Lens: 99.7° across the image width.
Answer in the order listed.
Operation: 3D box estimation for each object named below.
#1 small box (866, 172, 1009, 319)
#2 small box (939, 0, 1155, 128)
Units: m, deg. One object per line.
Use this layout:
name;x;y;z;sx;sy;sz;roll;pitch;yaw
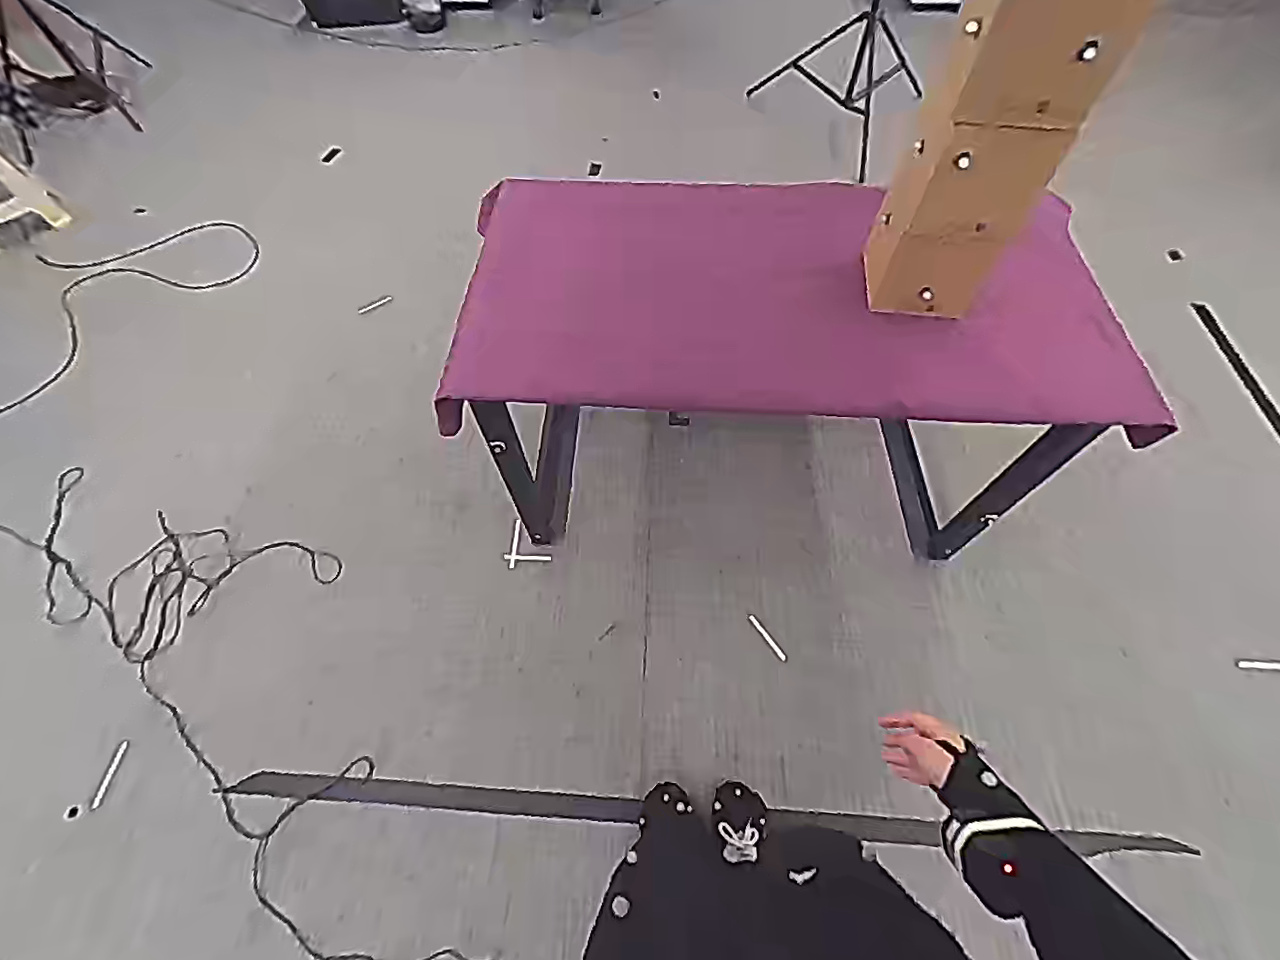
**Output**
small box;0.519;-0.419;0.973;0.168;0.176;0.179;6;60;6
small box;0.509;-0.580;0.689;0.168;0.176;0.179;9;59;5
